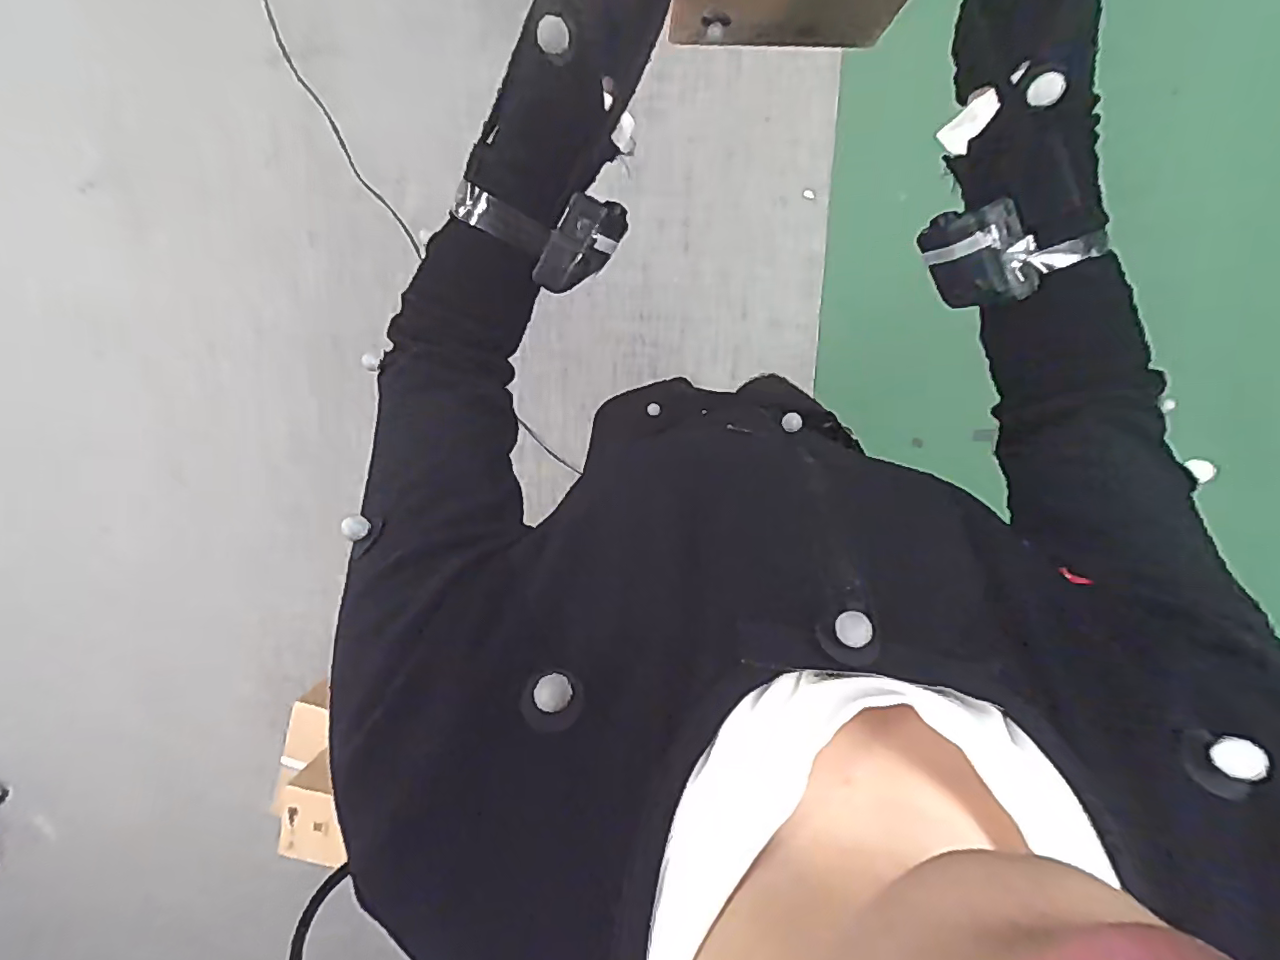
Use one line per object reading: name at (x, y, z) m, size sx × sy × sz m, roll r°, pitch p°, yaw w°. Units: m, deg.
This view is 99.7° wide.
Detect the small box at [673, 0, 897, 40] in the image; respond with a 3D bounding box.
small box at (0.107, -0.414, 0.332) m, size 0.168 × 0.176 × 0.179 m, roll -1°, pitch 98°, yaw -2°

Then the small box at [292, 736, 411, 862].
small box at (-0.638, 0.704, 1.213) m, size 0.179 × 0.176 × 0.168 m, roll 9°, pitch 98°, yaw 2°
